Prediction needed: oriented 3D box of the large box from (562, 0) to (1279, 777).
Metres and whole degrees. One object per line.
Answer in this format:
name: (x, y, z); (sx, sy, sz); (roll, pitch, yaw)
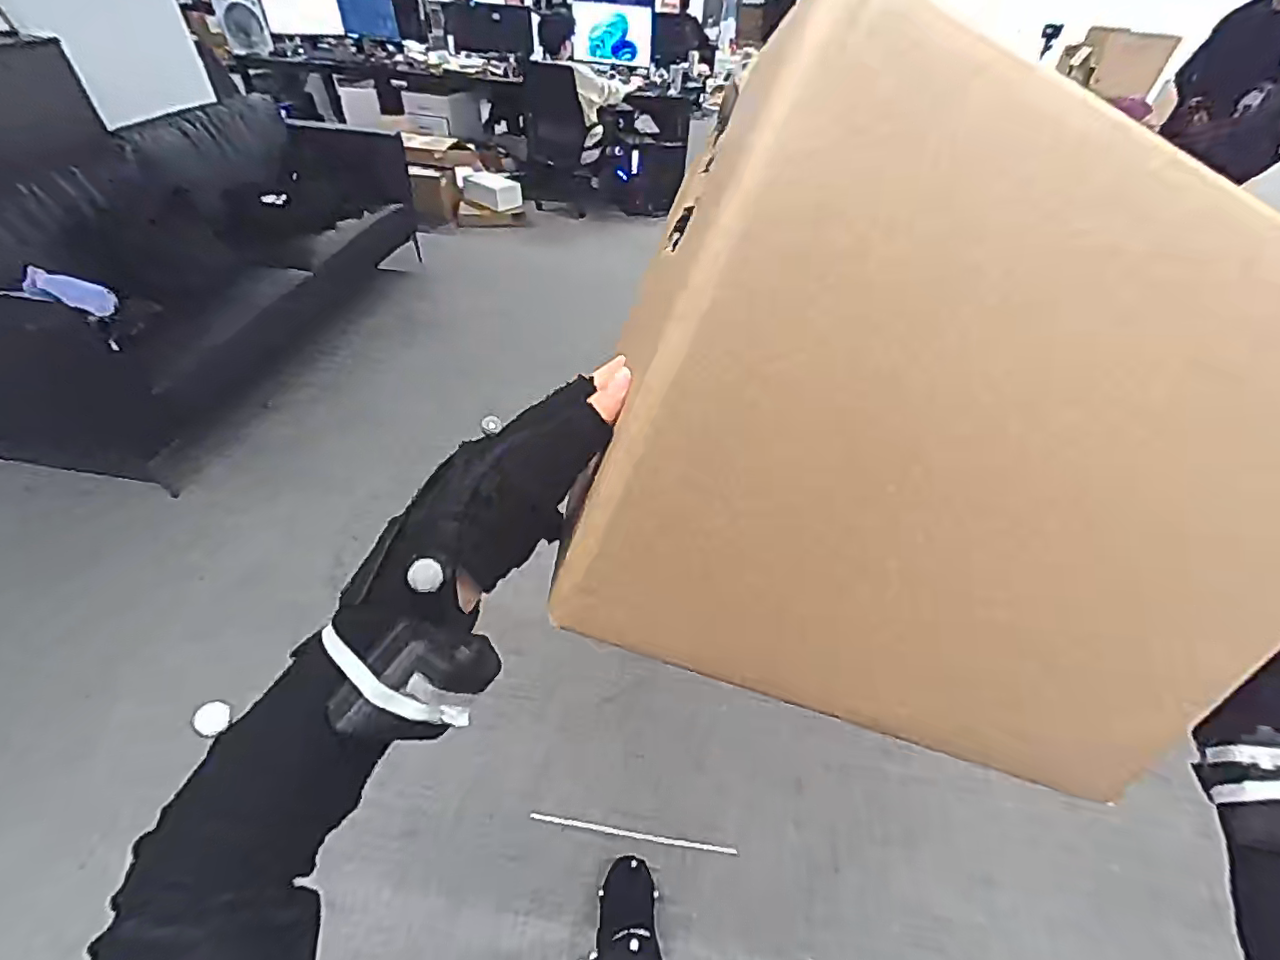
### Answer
large box: (0.185, -0.042, 0.426); (0.408, 0.320, 0.320); (22, 21, -10)
